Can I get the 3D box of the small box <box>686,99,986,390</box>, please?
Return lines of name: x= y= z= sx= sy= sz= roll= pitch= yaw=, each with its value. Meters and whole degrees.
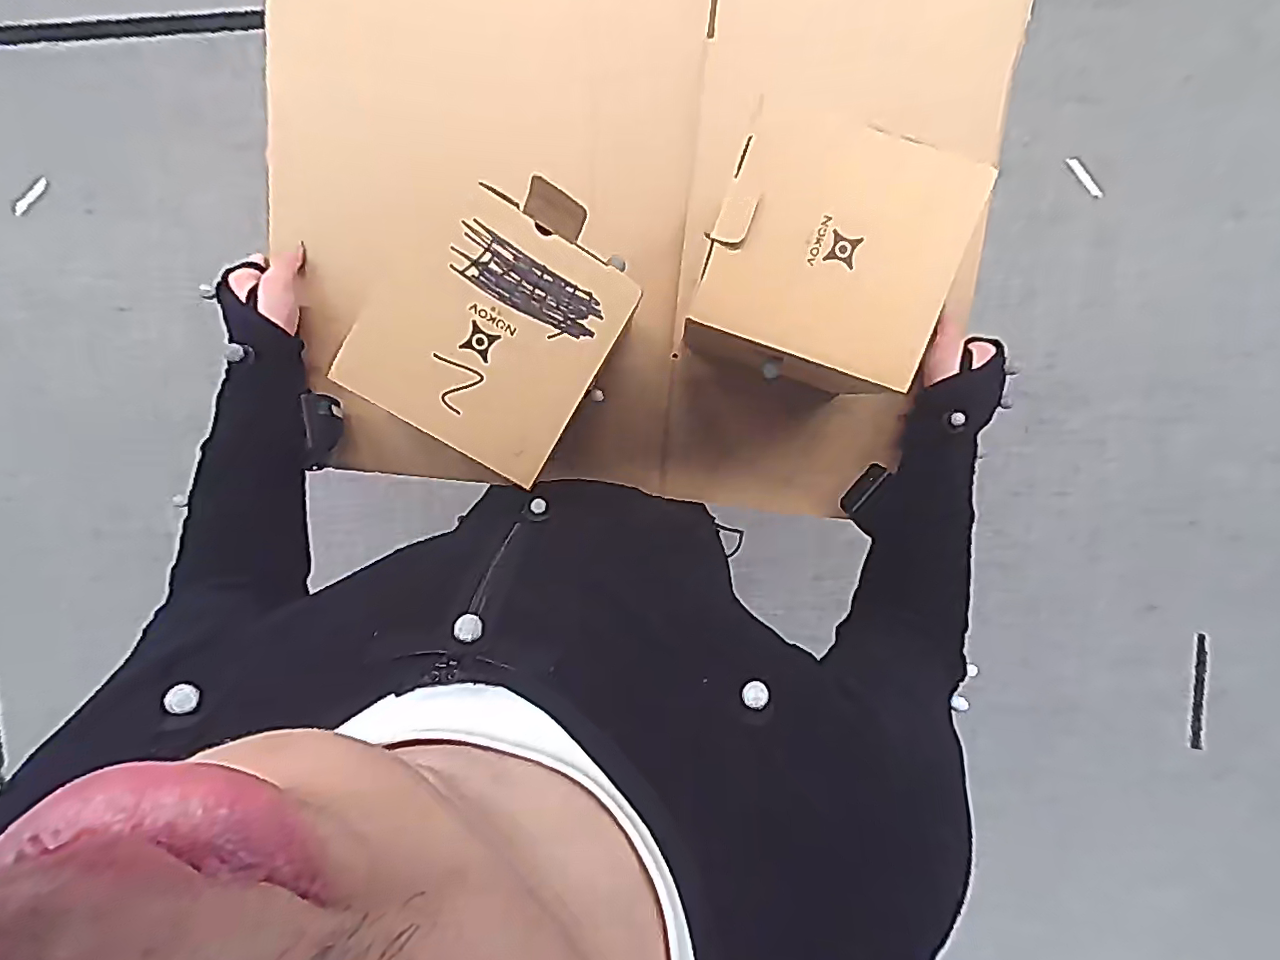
small box: x=0.149 y=-0.186 z=0.482 sx=0.179 sy=0.176 sz=0.168 roll=19 pitch=100 yaw=2
